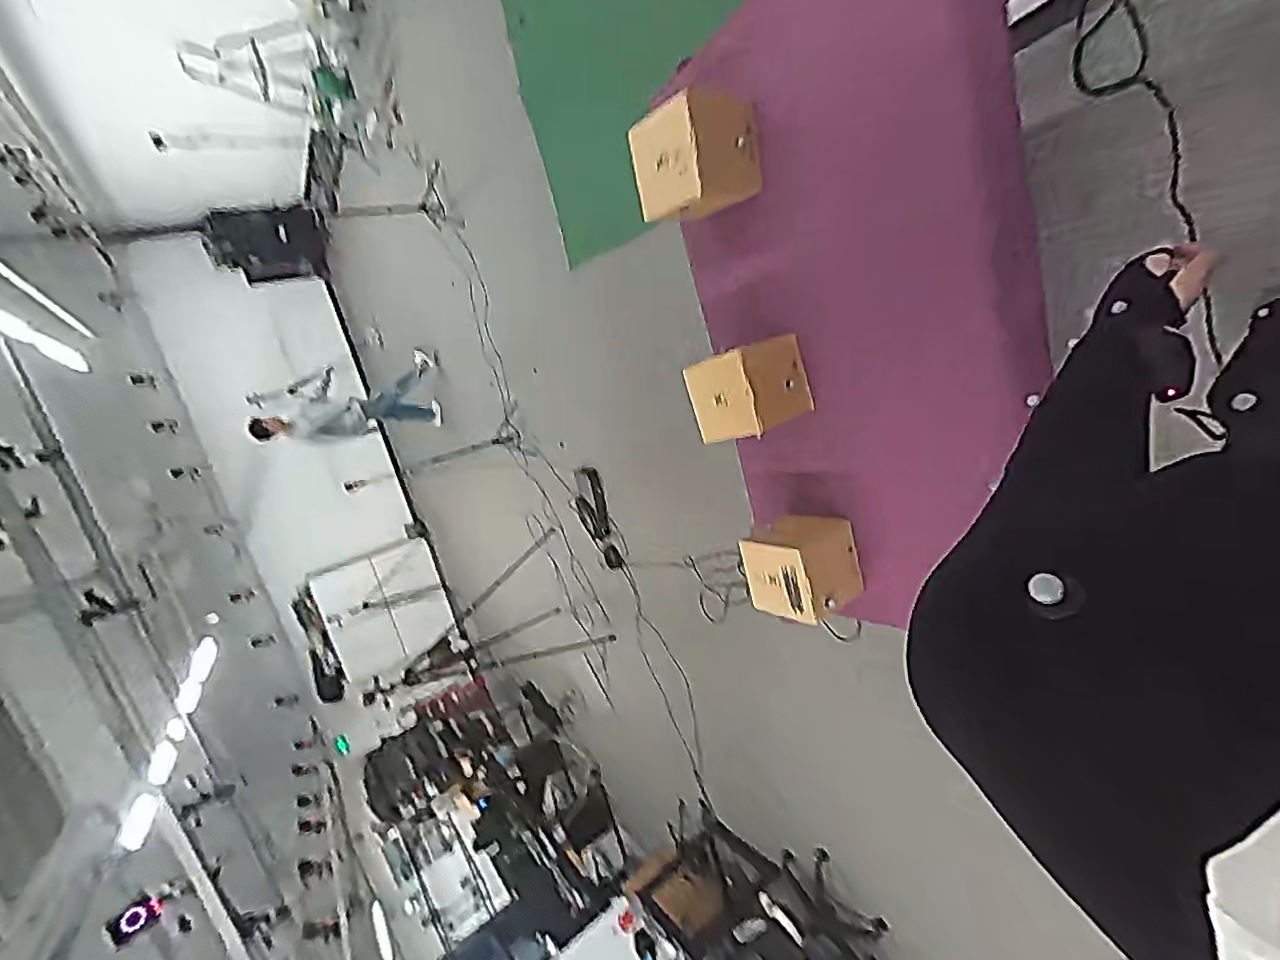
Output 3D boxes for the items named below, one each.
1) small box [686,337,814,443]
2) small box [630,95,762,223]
[{"bbox_3d":[0.232,-0.188,1.140,0.179,0.176,0.168,-8,102,56],"label":"small box"},{"bbox_3d":[0.109,-0.613,1.049,0.179,0.176,0.168,10,118,53],"label":"small box"}]
